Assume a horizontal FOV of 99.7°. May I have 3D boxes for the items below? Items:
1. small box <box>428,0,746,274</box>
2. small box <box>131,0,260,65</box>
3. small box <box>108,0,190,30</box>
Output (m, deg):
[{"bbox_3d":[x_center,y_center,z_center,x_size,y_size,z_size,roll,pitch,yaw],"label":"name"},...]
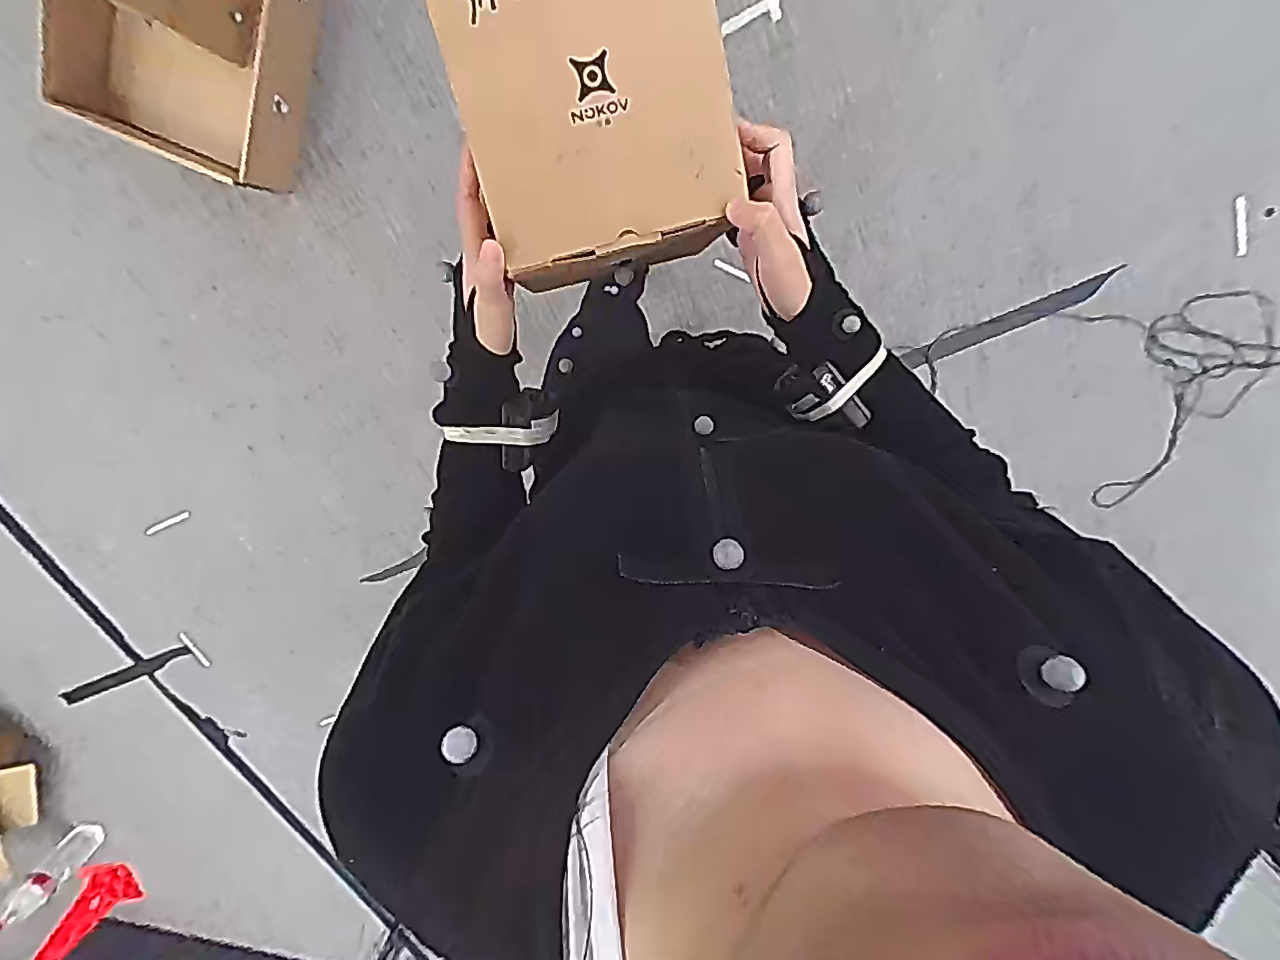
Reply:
[{"bbox_3d":[-0.035,-0.260,0.400,0.168,0.176,0.179,-15,106,-2],"label":"small box"},{"bbox_3d":[-0.892,-0.954,1.048,0.179,0.176,0.168,24,109,-8],"label":"small box"},{"bbox_3d":[-0.895,-0.900,0.895,0.179,0.176,0.168,23,109,-8],"label":"small box"}]
